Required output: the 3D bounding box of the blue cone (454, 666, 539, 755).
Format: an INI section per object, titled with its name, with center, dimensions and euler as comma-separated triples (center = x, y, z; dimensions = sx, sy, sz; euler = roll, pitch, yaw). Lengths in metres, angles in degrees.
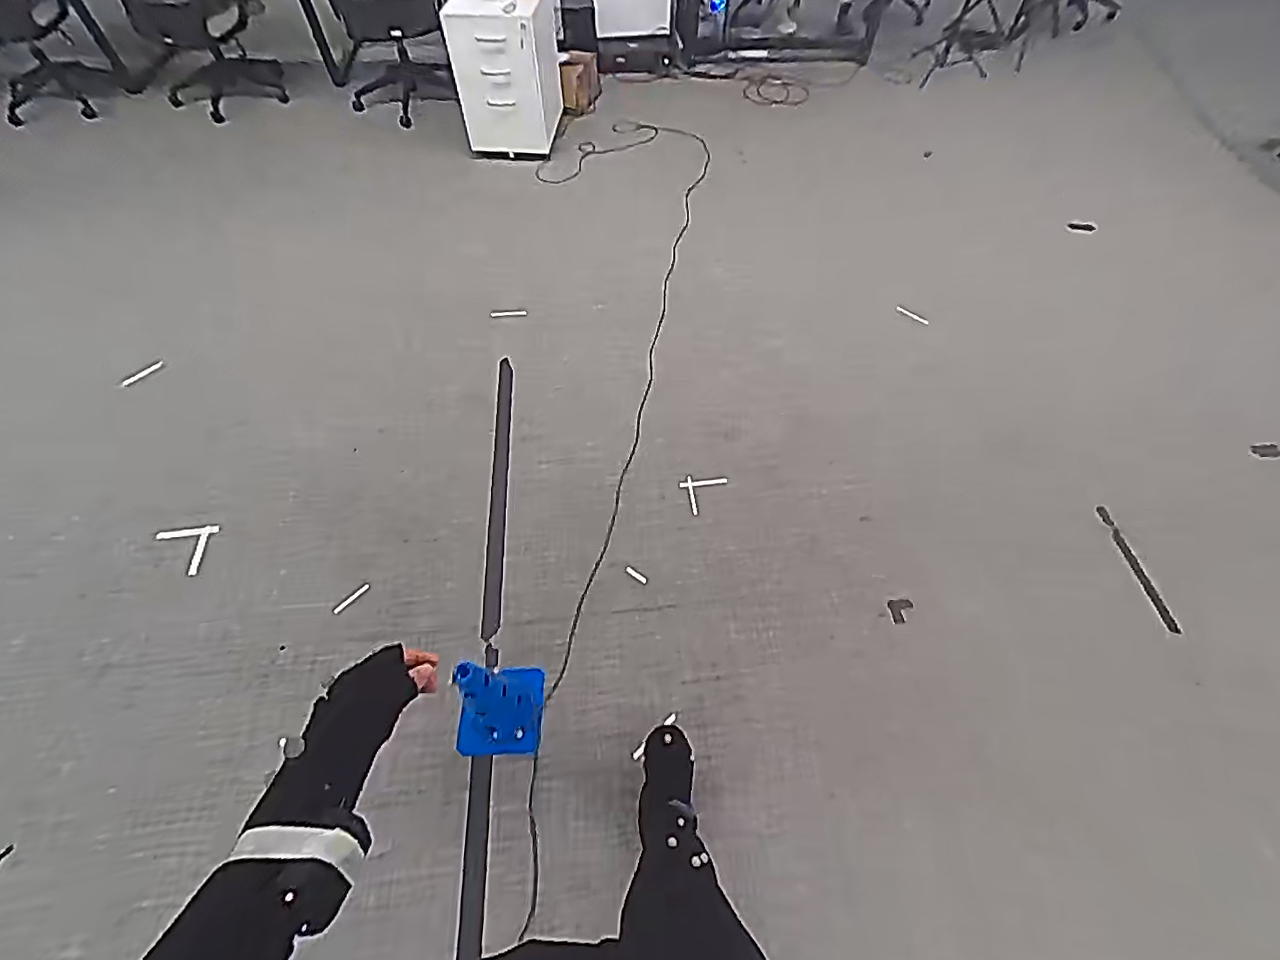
[blue cone]
center = -0.338, 0.466, 1.177
dimensions = 0.193, 0.380, 0.192
euler = -1, 56, -2
